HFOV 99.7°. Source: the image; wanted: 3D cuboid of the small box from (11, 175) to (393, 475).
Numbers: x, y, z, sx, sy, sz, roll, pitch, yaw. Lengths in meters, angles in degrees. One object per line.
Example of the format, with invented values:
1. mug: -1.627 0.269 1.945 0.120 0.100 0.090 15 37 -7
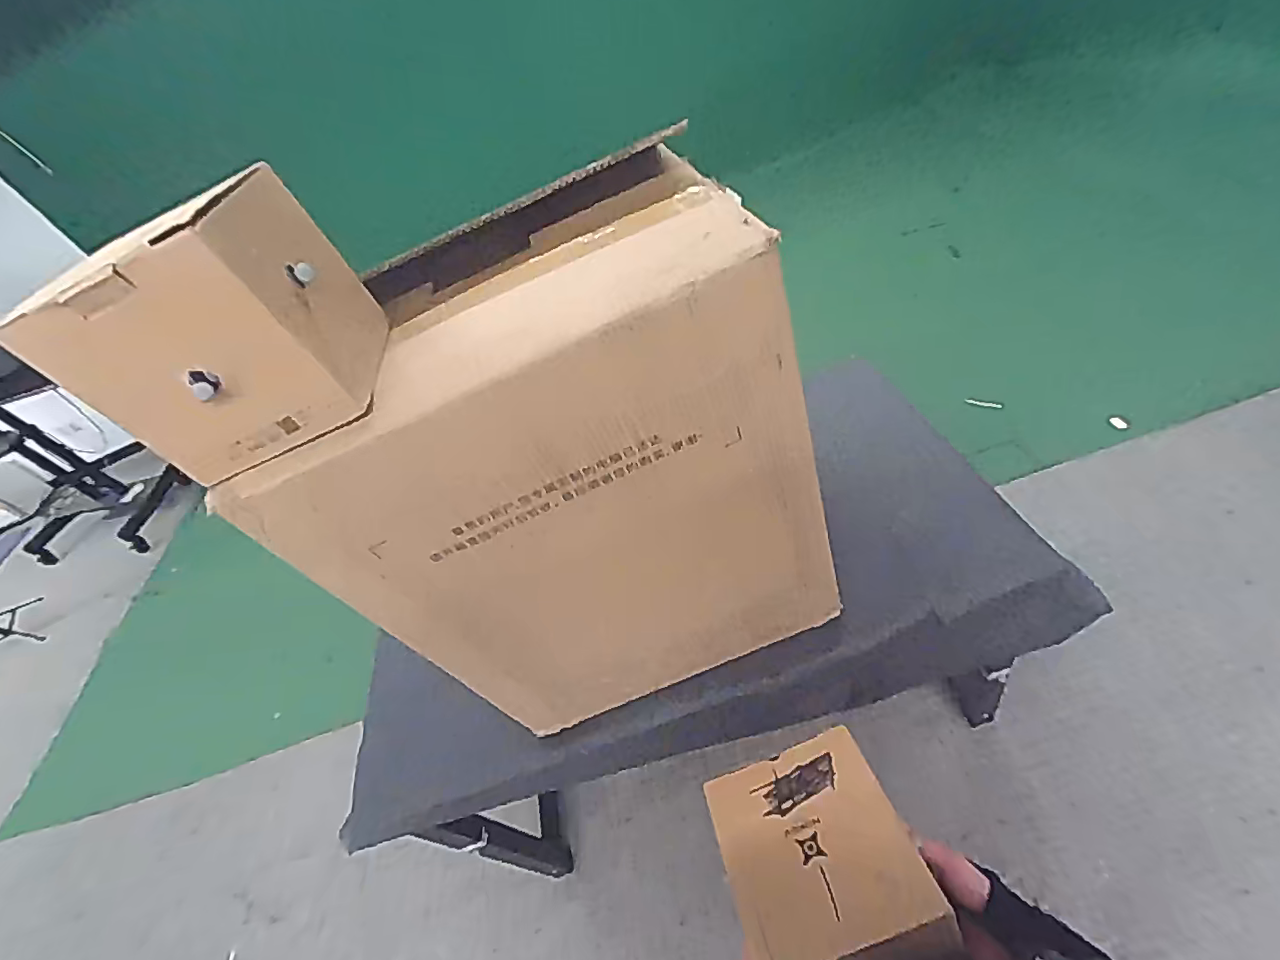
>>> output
1. small box: -0.344 -0.126 0.474 0.168 0.176 0.179 -23 44 5
